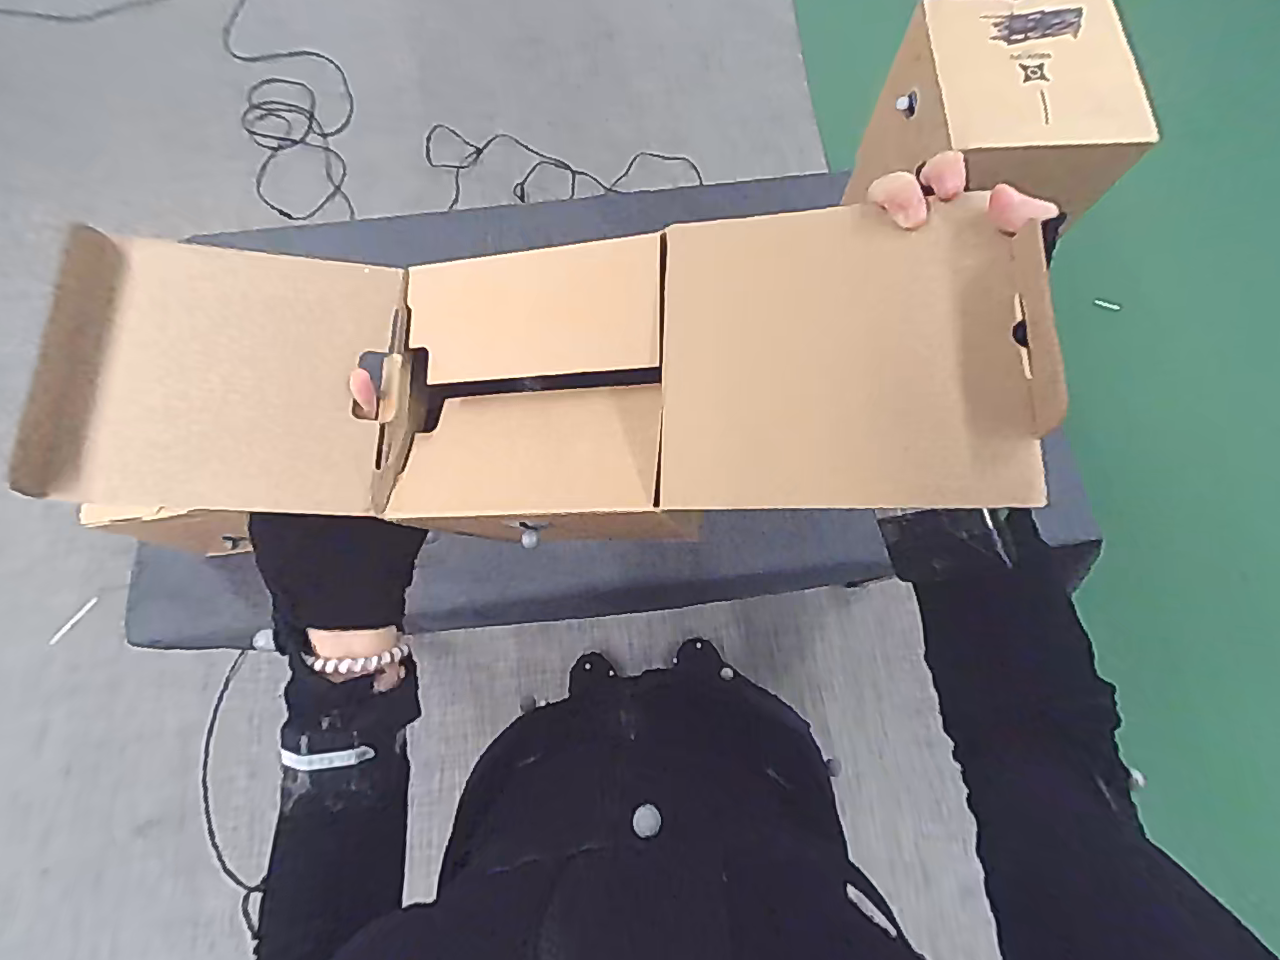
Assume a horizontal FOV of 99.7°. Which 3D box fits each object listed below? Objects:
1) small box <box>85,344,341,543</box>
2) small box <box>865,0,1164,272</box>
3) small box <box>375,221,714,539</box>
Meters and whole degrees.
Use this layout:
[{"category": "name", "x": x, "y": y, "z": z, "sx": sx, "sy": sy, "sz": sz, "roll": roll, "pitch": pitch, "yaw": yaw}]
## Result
[{"category": "small box", "x": -0.477, "y": -0.034, "z": 0.636, "sx": 0.168, "sy": 0.176, "sz": 0.179, "roll": -8, "pitch": 74, "yaw": -1}, {"category": "small box", "x": 0.338, "y": -0.331, "z": 0.531, "sx": 0.168, "sy": 0.176, "sz": 0.179, "roll": -1, "pitch": 75, "yaw": 2}, {"category": "small box", "x": -0.047, "y": -0.048, "z": 0.384, "sx": 0.179, "sy": 0.176, "sz": 0.168, "roll": -1, "pitch": 78, "yaw": 15}]
